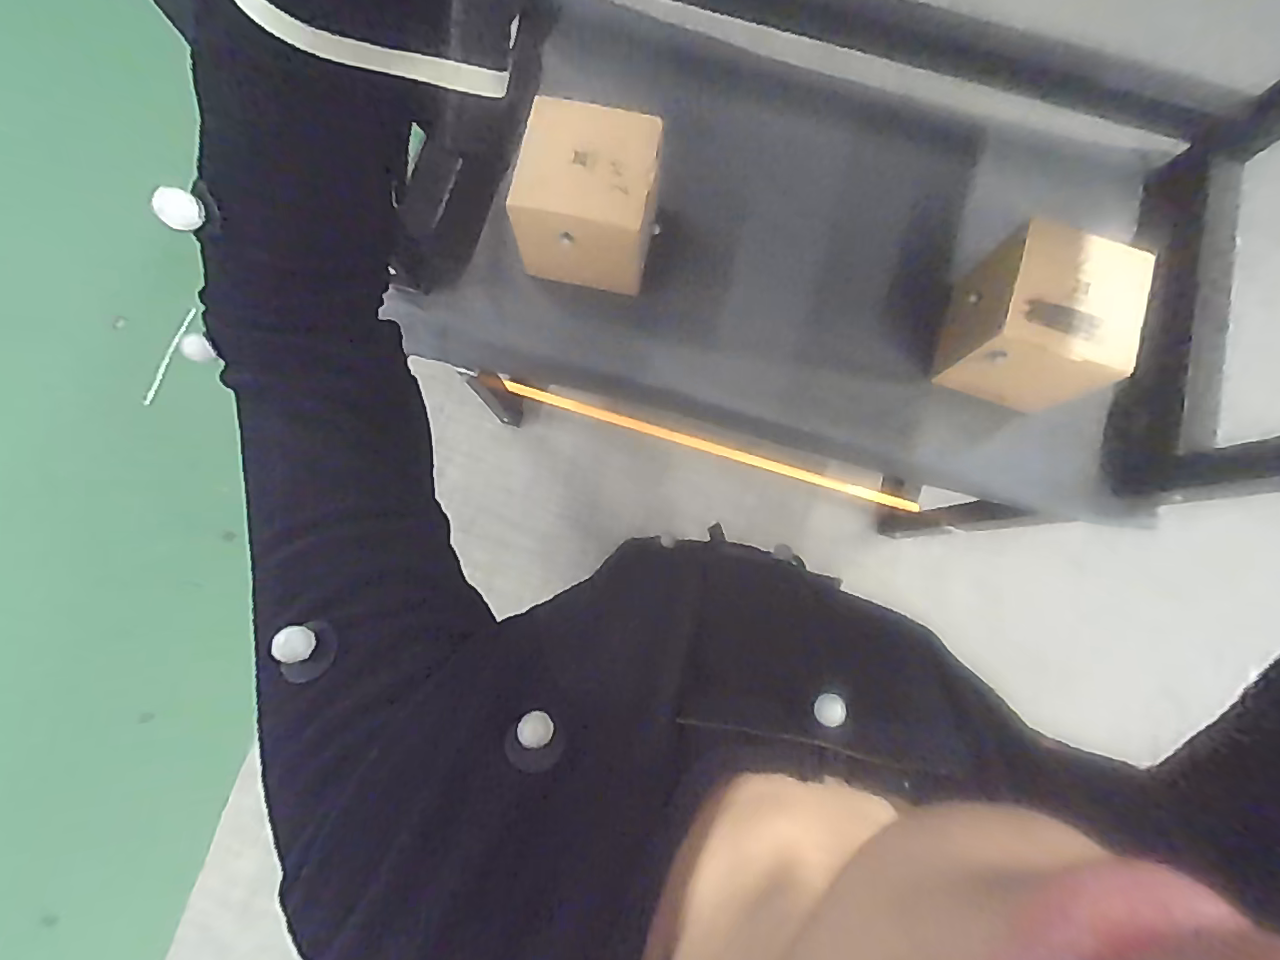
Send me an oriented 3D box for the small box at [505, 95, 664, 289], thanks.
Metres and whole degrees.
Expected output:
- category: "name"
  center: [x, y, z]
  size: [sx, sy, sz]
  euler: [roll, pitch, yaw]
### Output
- category: "small box"
  center: [-0.072, -0.397, 0.772]
  size: [0.179, 0.176, 0.168]
  euler: [12, 81, 0]
